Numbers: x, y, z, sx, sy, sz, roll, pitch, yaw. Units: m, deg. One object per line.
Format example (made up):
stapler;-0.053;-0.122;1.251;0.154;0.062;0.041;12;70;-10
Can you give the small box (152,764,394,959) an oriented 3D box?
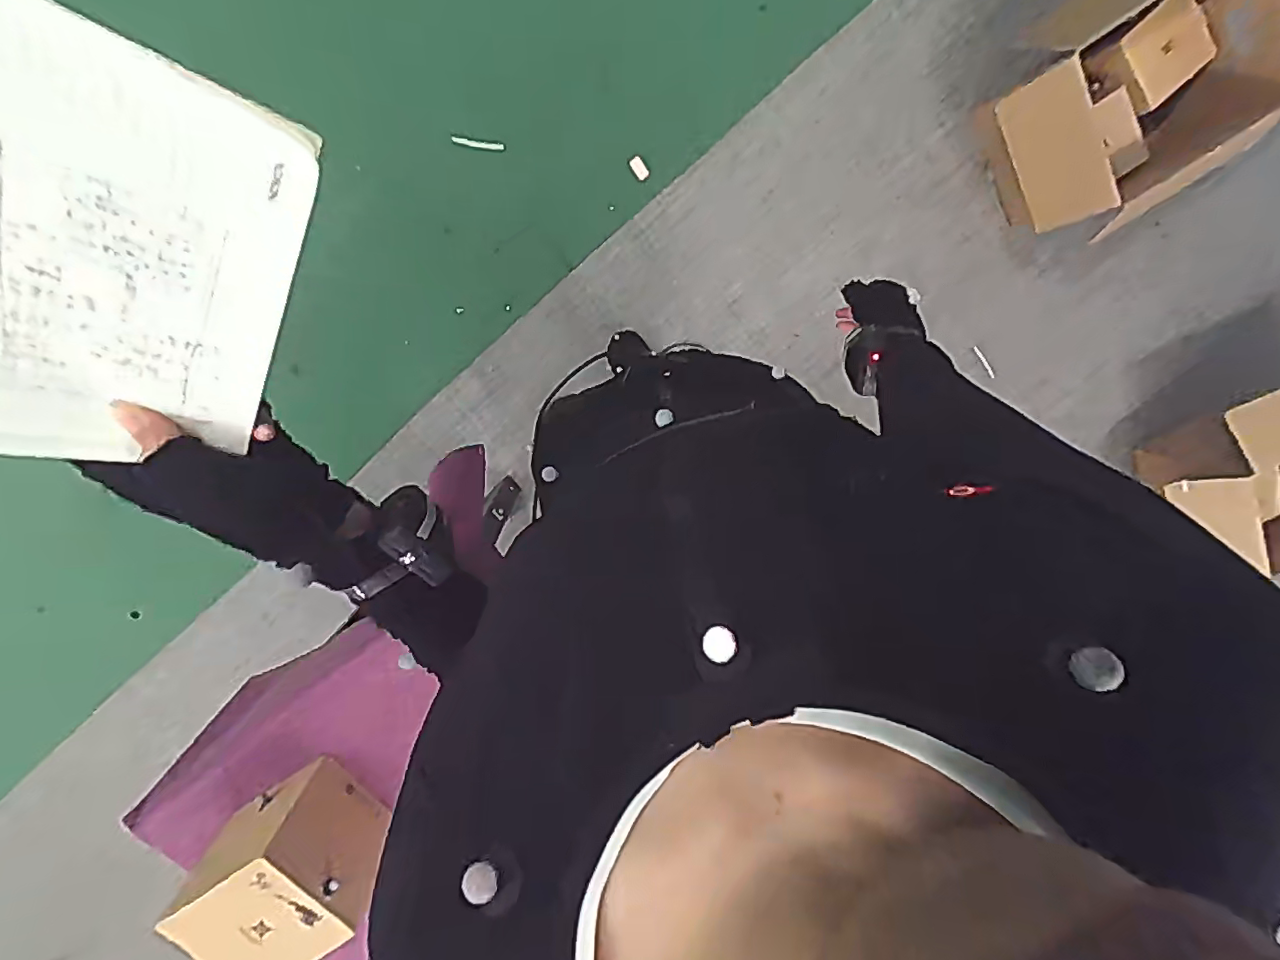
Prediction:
small box;-0.478;0.538;0.737;0.179;0.176;0.168;-33;106;5
